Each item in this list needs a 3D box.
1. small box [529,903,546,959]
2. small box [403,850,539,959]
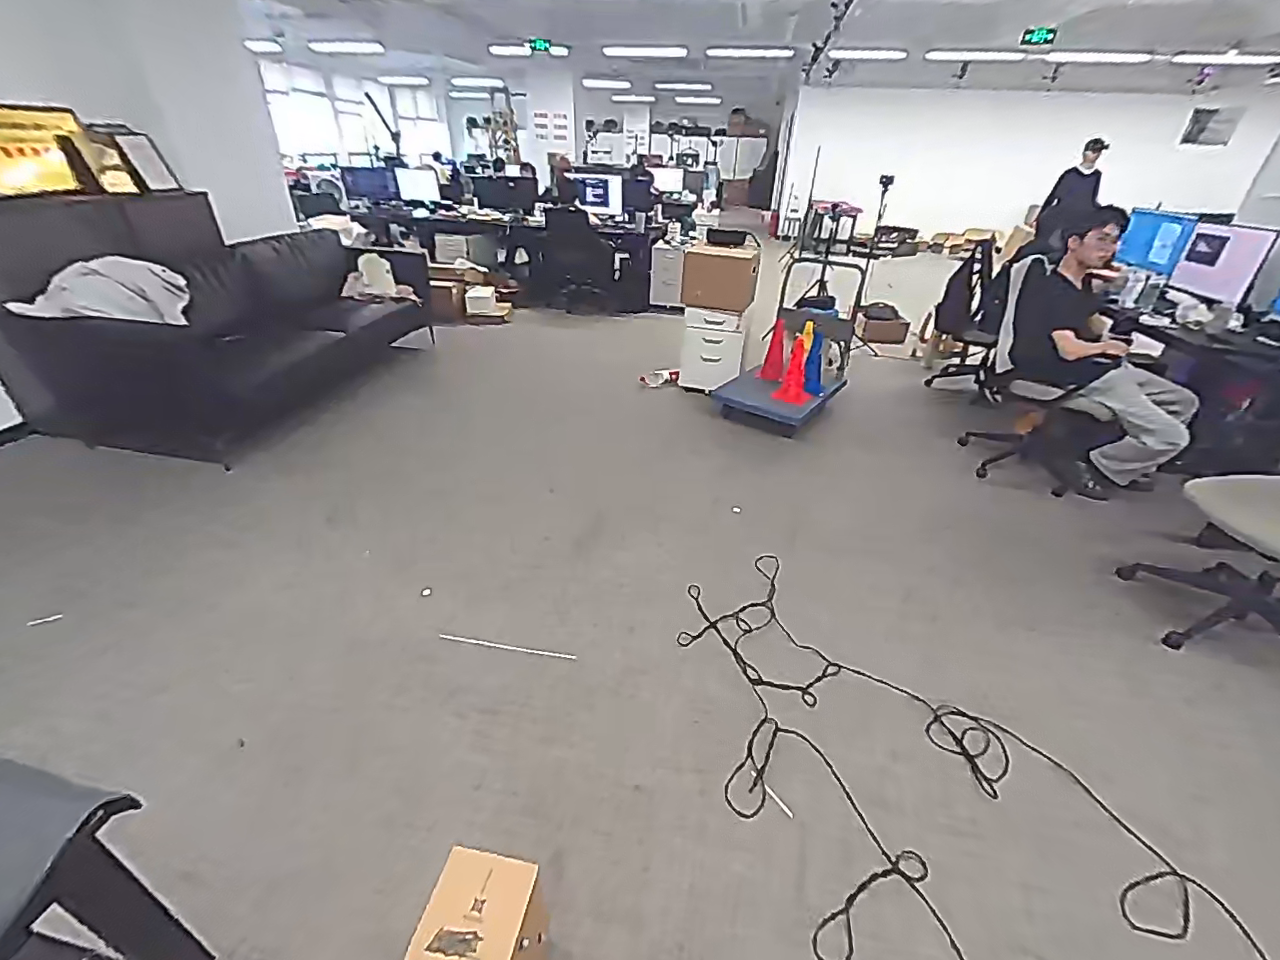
[{"bbox_3d":[-0.285,0.921,1.024,0.168,0.176,0.179,8,30,10],"label":"small box"},{"bbox_3d":[-0.278,0.787,0.930,0.168,0.176,0.179,7,30,8],"label":"small box"}]
